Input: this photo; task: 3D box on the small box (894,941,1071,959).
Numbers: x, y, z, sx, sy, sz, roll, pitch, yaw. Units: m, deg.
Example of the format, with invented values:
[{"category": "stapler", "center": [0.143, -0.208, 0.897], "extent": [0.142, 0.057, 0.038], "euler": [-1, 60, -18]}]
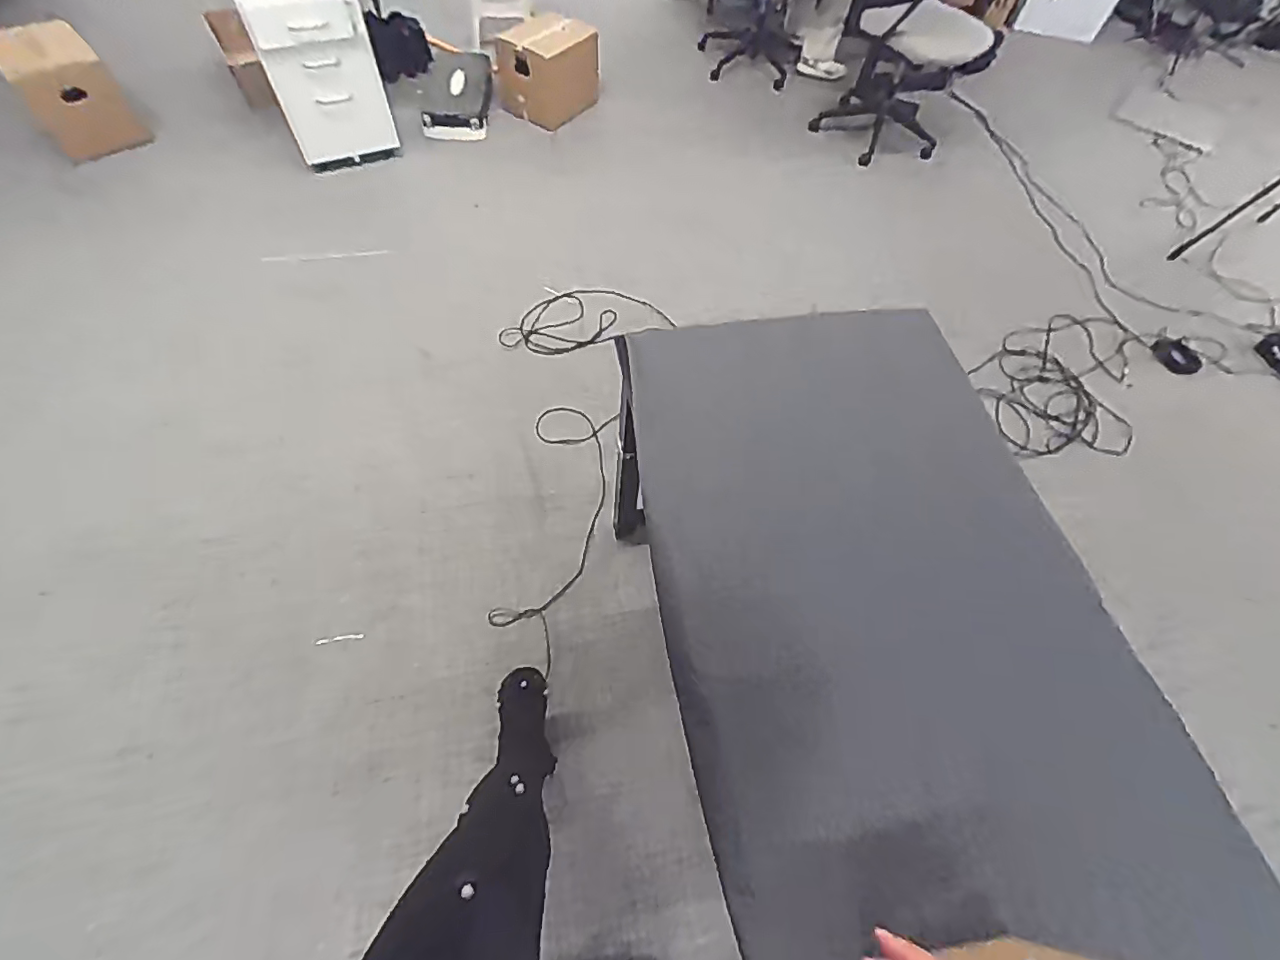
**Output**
[{"category": "small box", "center": [0.327, 0.511, 0.448], "extent": [0.179, 0.176, 0.168], "euler": [-2, 58, -9]}]
